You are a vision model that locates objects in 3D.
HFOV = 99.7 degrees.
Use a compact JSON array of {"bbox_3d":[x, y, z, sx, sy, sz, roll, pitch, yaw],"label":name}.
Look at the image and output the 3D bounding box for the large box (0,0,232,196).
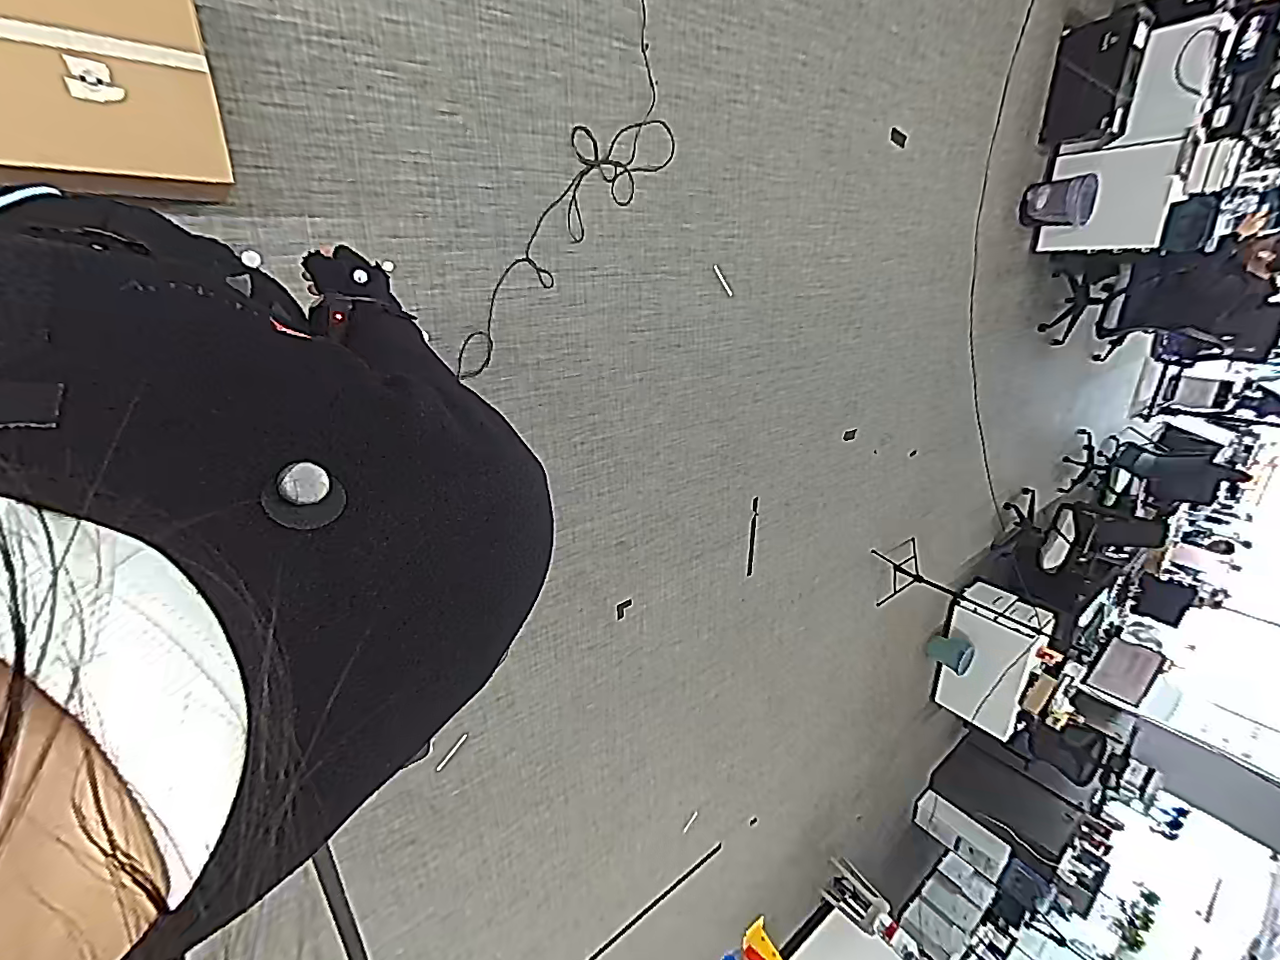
[{"bbox_3d":[-0.895,-0.619,0.800,0.408,0.320,0.320,-16,117,-35],"label":"large box"}]
